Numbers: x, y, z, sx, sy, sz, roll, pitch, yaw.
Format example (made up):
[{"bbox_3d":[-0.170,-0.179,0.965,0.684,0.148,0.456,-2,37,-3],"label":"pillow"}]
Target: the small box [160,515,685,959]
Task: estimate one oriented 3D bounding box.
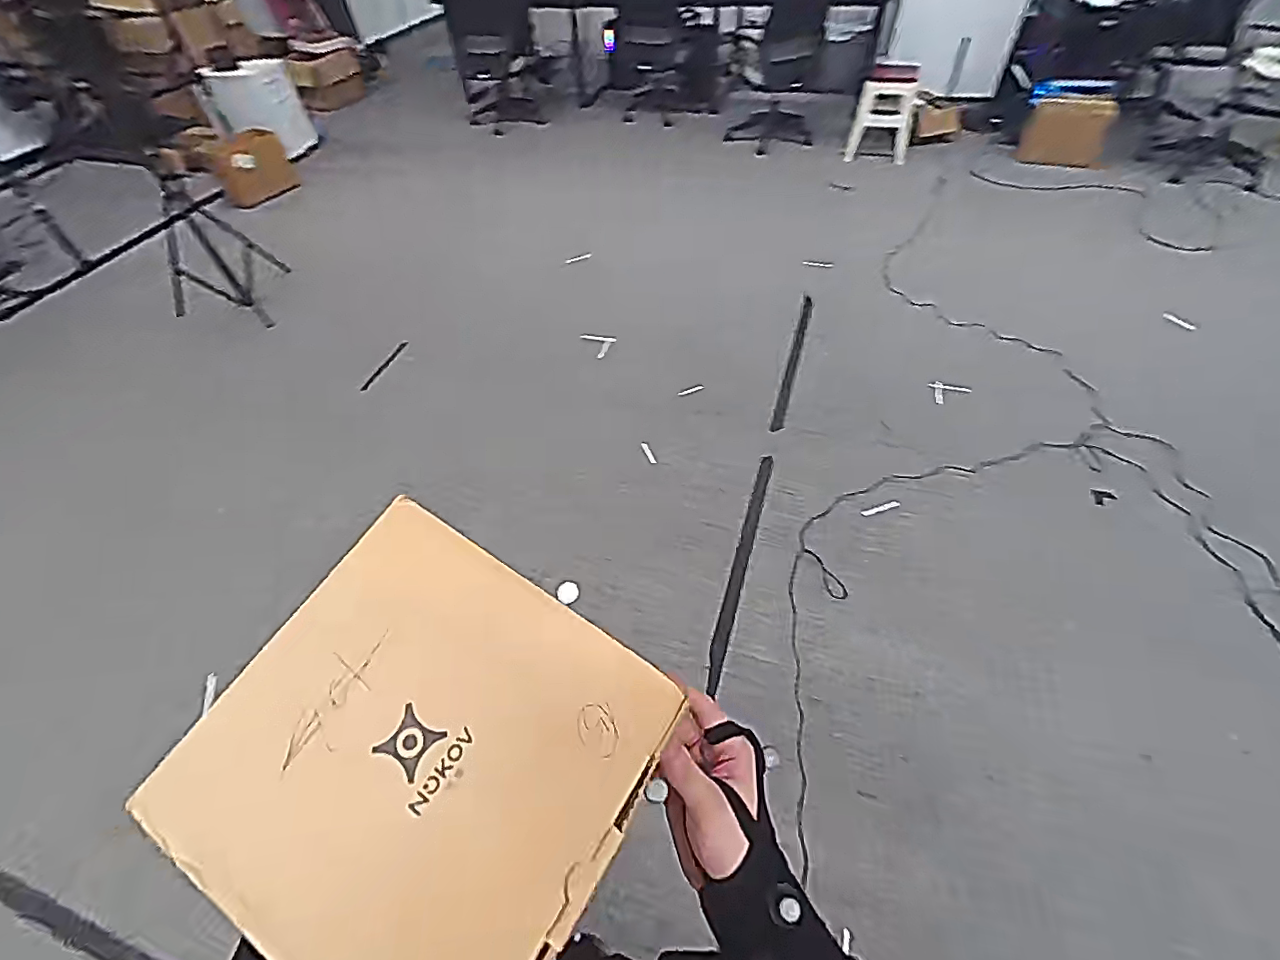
[{"bbox_3d":[-0.093,0.153,0.314,0.179,0.176,0.168,31,69,14],"label":"small box"}]
